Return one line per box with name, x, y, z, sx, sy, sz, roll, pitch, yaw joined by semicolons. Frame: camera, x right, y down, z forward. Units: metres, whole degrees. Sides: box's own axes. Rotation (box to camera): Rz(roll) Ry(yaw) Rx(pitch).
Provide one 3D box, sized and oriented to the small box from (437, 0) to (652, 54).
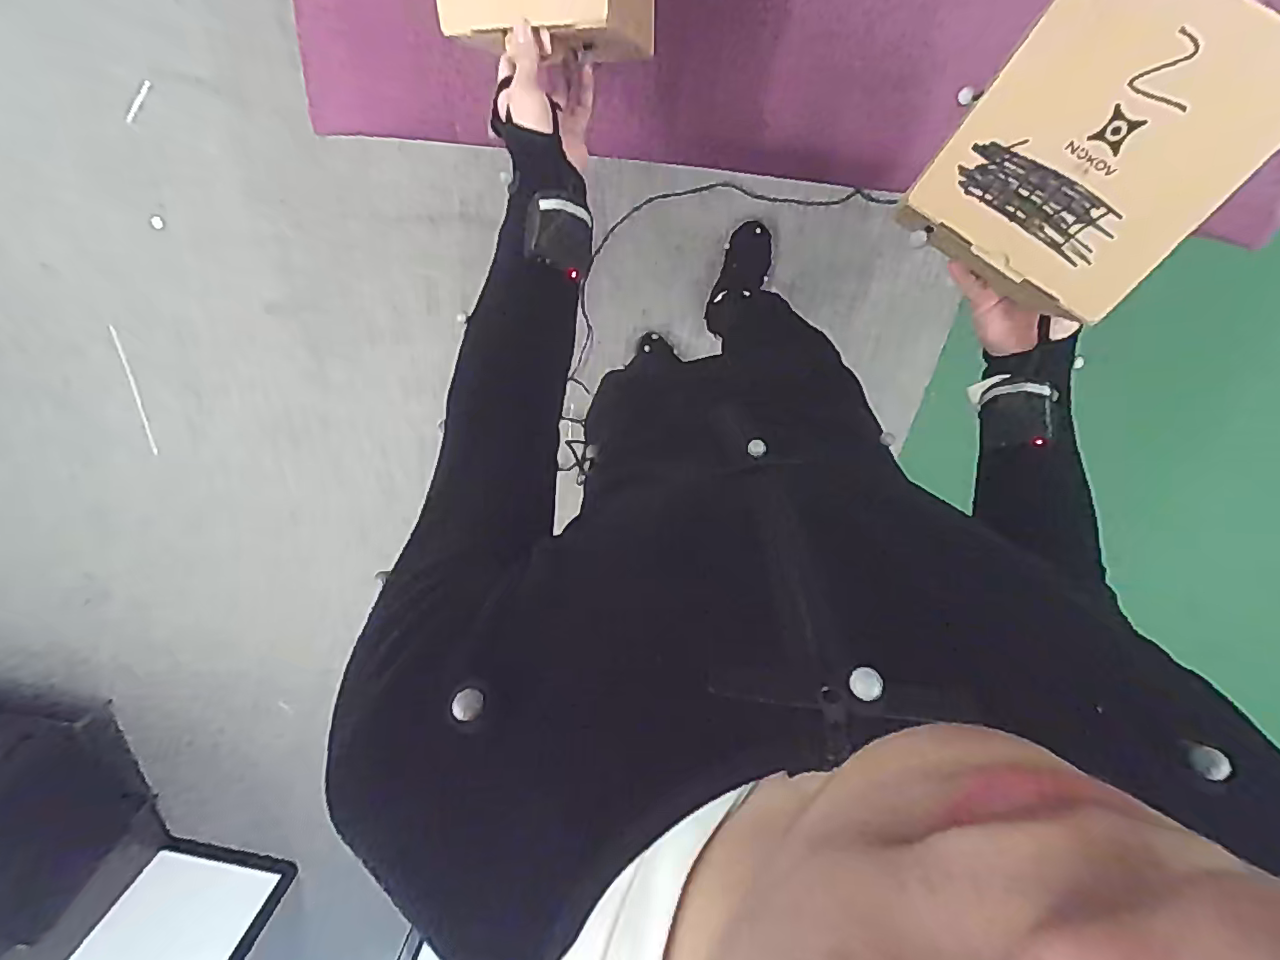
small box;-0.084;-0.521;0.508;0.168;0.176;0.179;8;120;12
